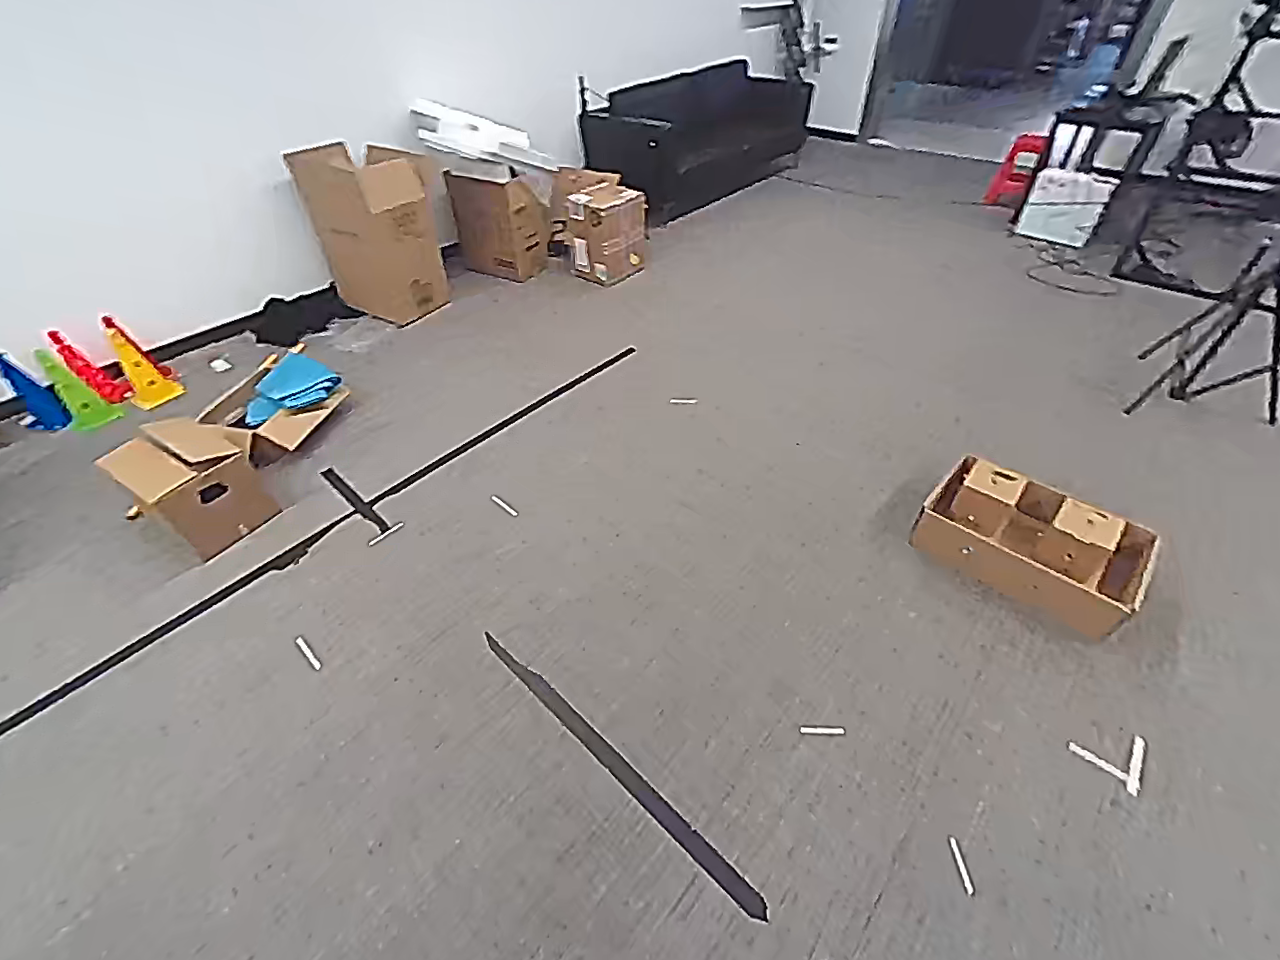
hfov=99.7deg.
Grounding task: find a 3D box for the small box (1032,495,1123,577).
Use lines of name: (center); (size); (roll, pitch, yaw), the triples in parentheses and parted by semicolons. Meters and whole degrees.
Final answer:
small box: (1.439, 0.187, 1.789); (0.168, 0.176, 0.179); (31, 54, 34)
